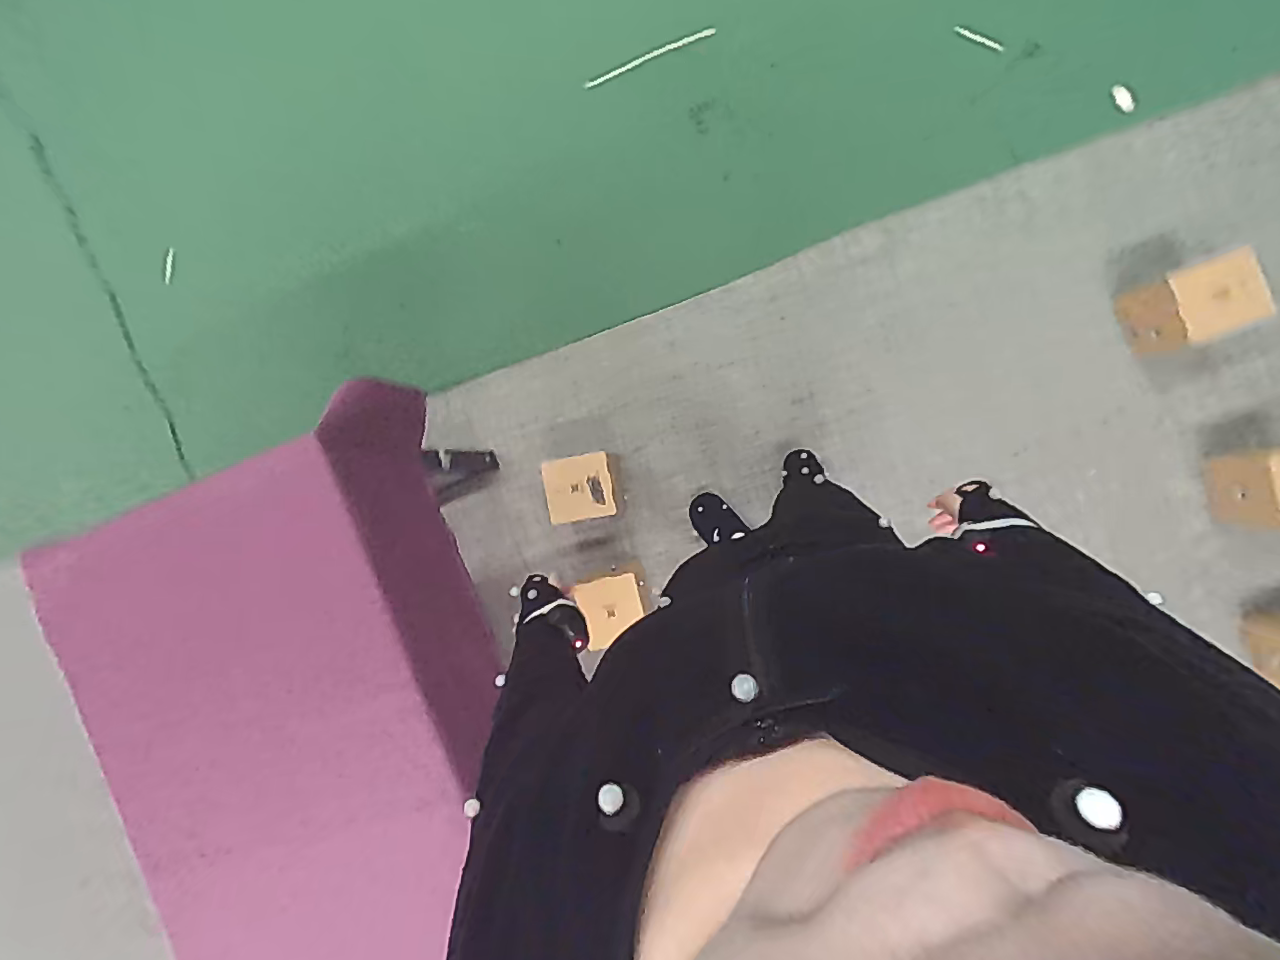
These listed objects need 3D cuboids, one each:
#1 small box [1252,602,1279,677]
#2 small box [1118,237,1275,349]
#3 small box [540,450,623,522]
[{"bbox_3d":[1.580,0.377,1.239,0.179,0.176,0.168,-17,90,9],"label":"small box"},{"bbox_3d":[1.268,-0.421,1.252,0.179,0.176,0.168,-21,90,7],"label":"small box"},{"bbox_3d":[-0.149,0.012,1.460,0.179,0.176,0.168,-11,90,8],"label":"small box"}]
